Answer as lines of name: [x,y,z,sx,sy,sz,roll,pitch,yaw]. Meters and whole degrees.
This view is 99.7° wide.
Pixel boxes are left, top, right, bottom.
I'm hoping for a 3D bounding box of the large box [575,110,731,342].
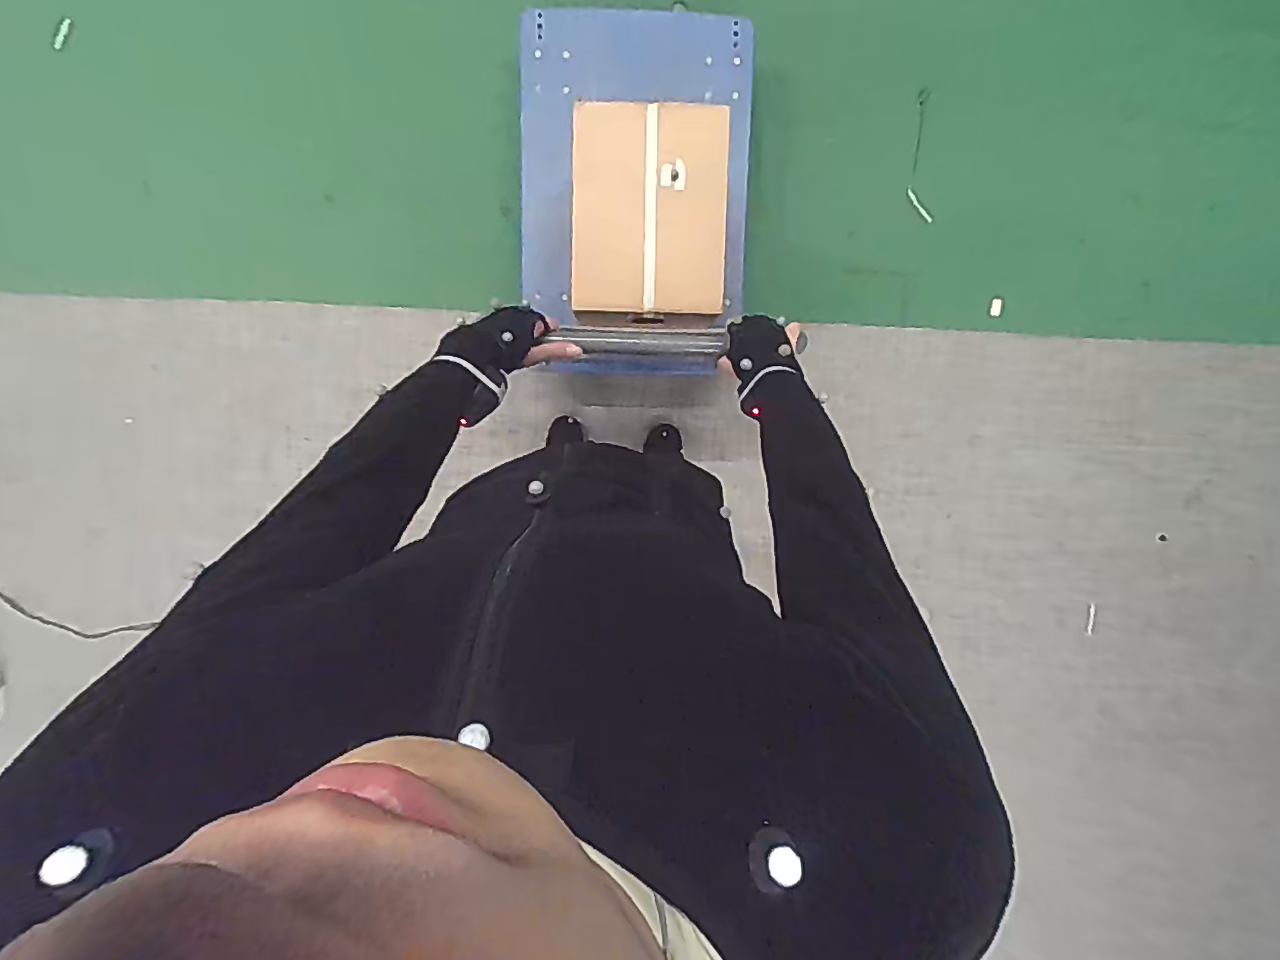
large box: [0.024,-0.539,1.229,0.320,0.320,0.408,1,95,-2]
